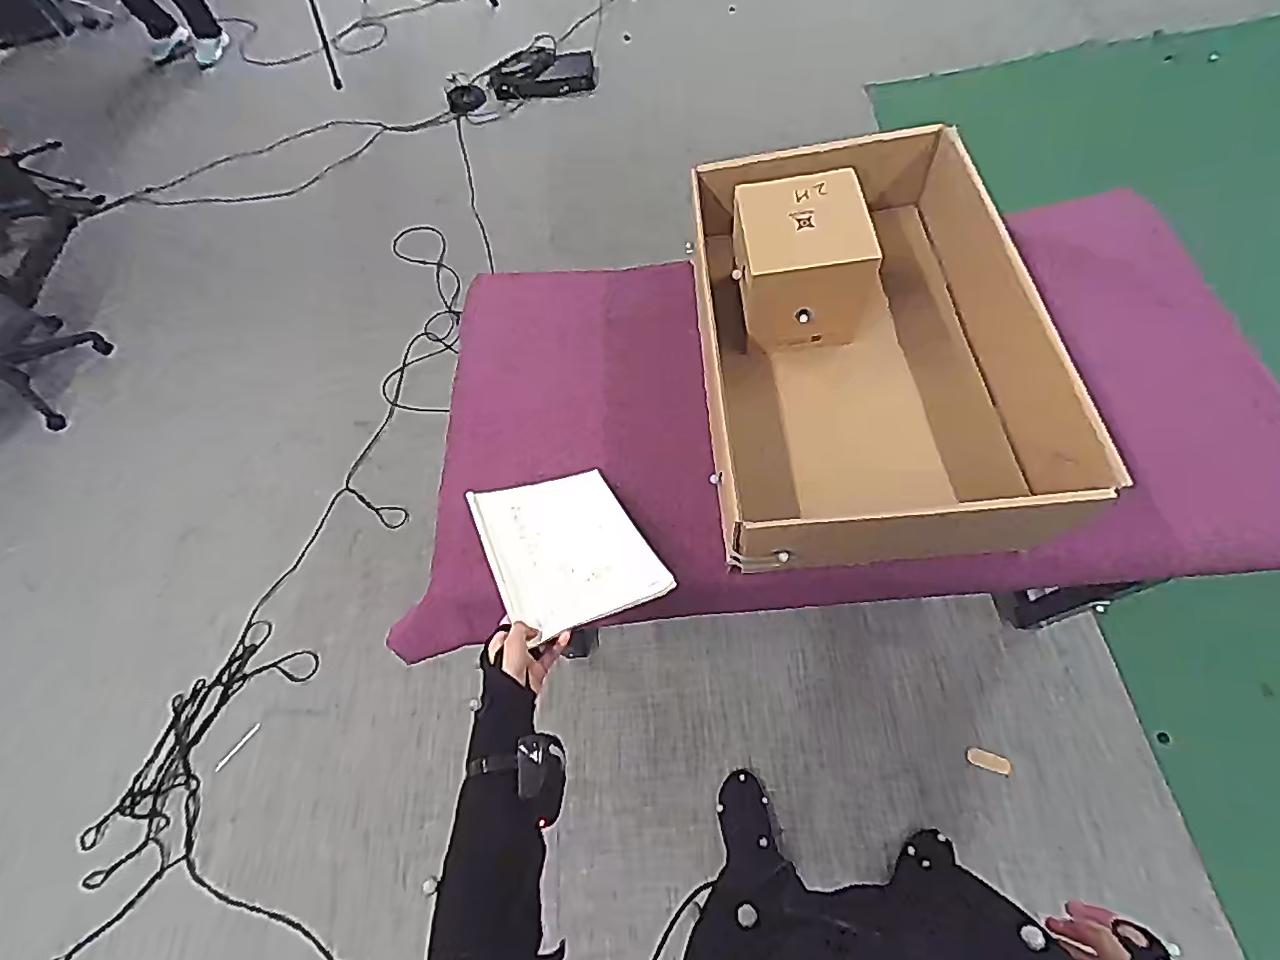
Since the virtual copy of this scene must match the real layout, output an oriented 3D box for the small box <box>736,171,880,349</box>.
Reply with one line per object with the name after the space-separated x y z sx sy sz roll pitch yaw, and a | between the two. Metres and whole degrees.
0.233 -0.310 0.795 0.168 0.176 0.179 -6 64 6 | small box
